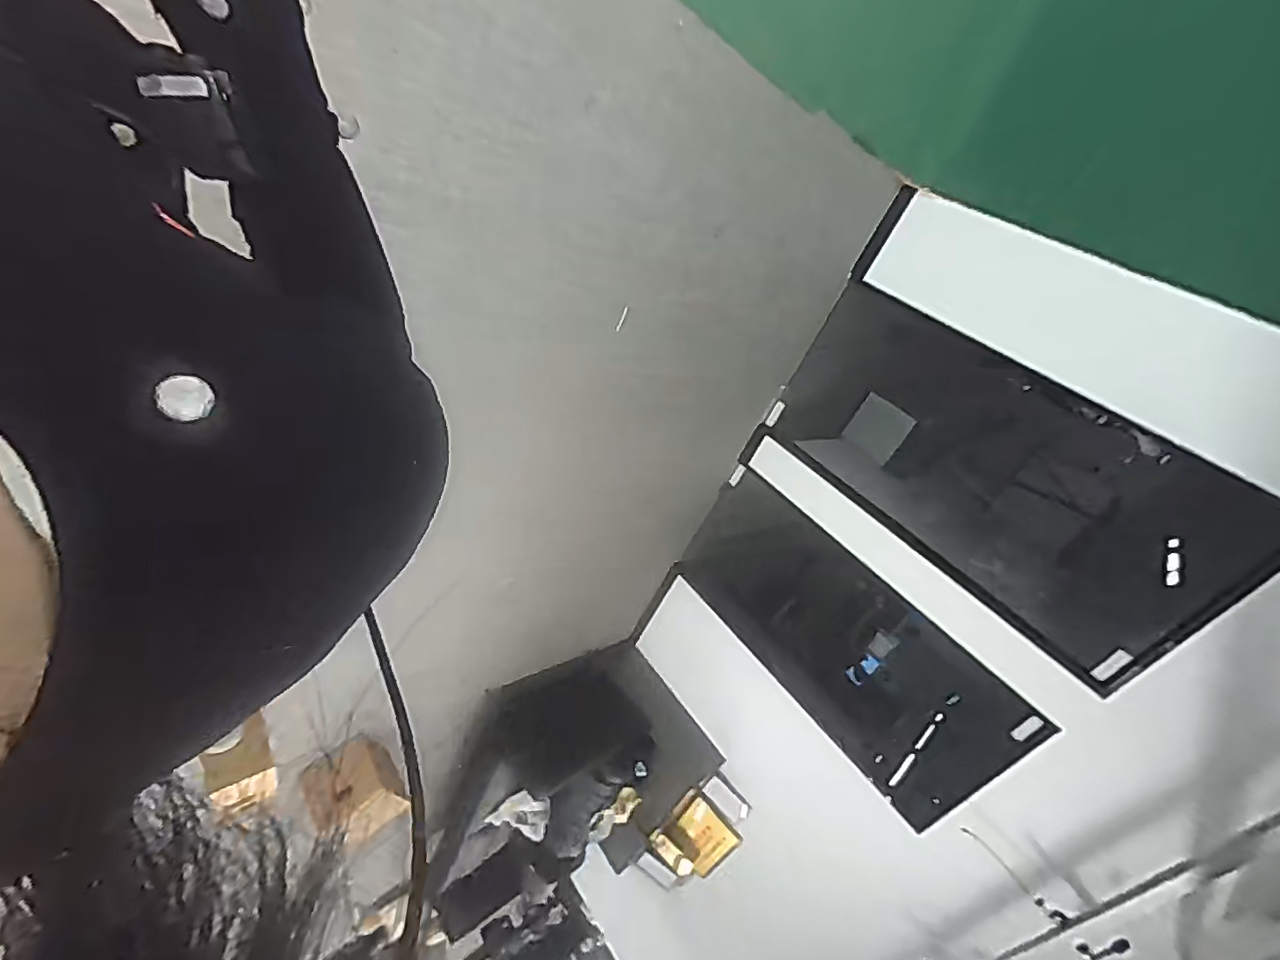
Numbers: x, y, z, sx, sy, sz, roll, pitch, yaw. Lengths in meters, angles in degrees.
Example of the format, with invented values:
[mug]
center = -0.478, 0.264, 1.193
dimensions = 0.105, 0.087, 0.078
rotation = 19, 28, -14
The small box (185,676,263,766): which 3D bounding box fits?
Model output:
[small box]
center = -1.337, 0.768, 1.737
dimensions = 0.179, 0.176, 0.168
rotation = -12, 138, -44
